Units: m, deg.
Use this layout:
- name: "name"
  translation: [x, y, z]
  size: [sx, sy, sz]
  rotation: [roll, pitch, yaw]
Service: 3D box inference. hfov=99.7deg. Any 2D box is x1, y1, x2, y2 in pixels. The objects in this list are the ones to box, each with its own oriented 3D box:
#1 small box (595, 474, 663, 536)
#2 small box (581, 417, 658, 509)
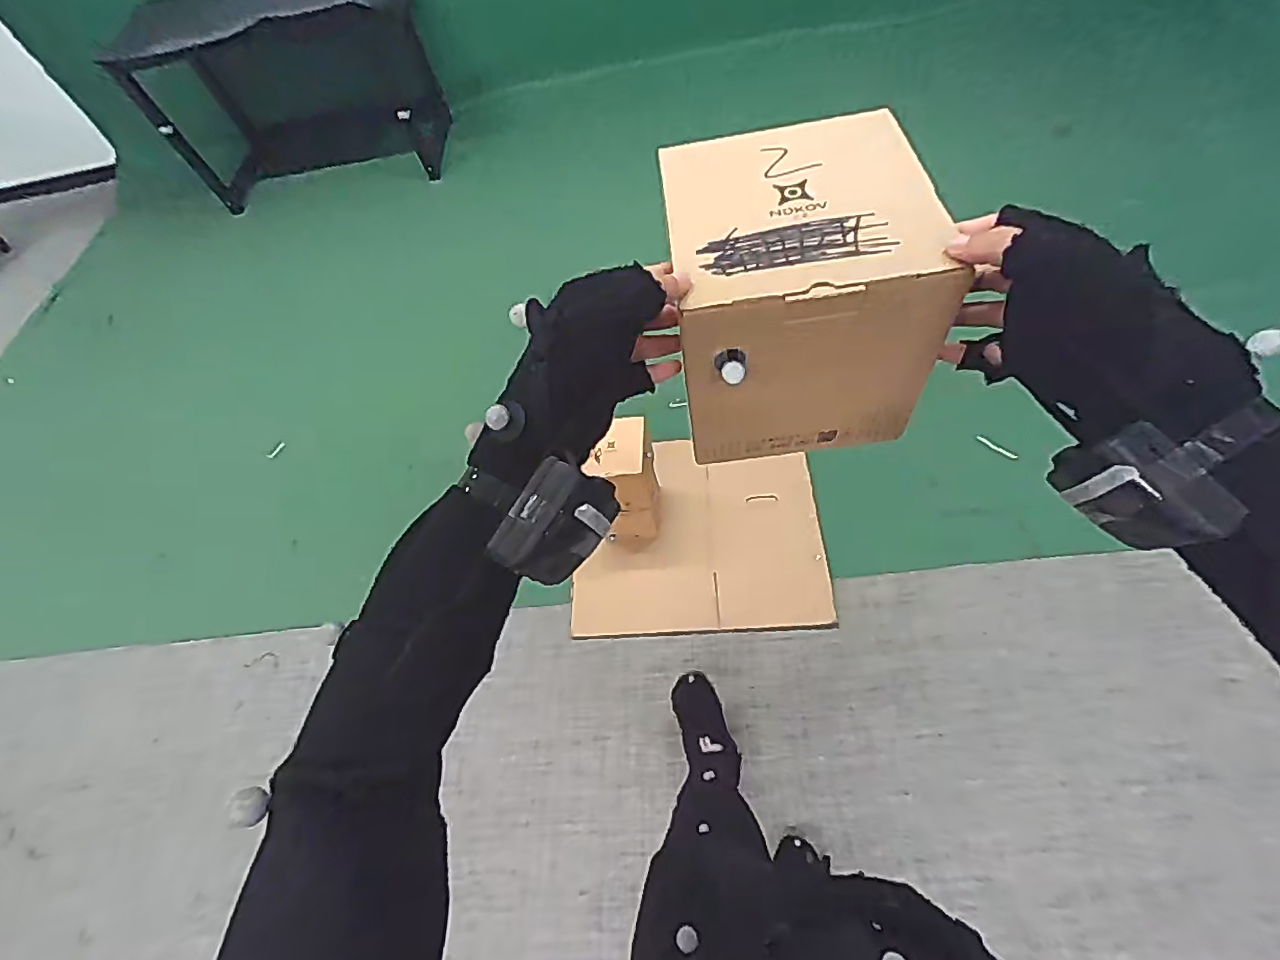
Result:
- name: "small box"
  translation: [-0.025, 0.053, 1.544]
  size: [0.168, 0.176, 0.179]
  rotation: [-5, 57, 9]
- name: "small box"
  translation: [-0.047, -0.041, 1.413]
  size: [0.168, 0.176, 0.179]
  rotation: [-3, 59, 9]
